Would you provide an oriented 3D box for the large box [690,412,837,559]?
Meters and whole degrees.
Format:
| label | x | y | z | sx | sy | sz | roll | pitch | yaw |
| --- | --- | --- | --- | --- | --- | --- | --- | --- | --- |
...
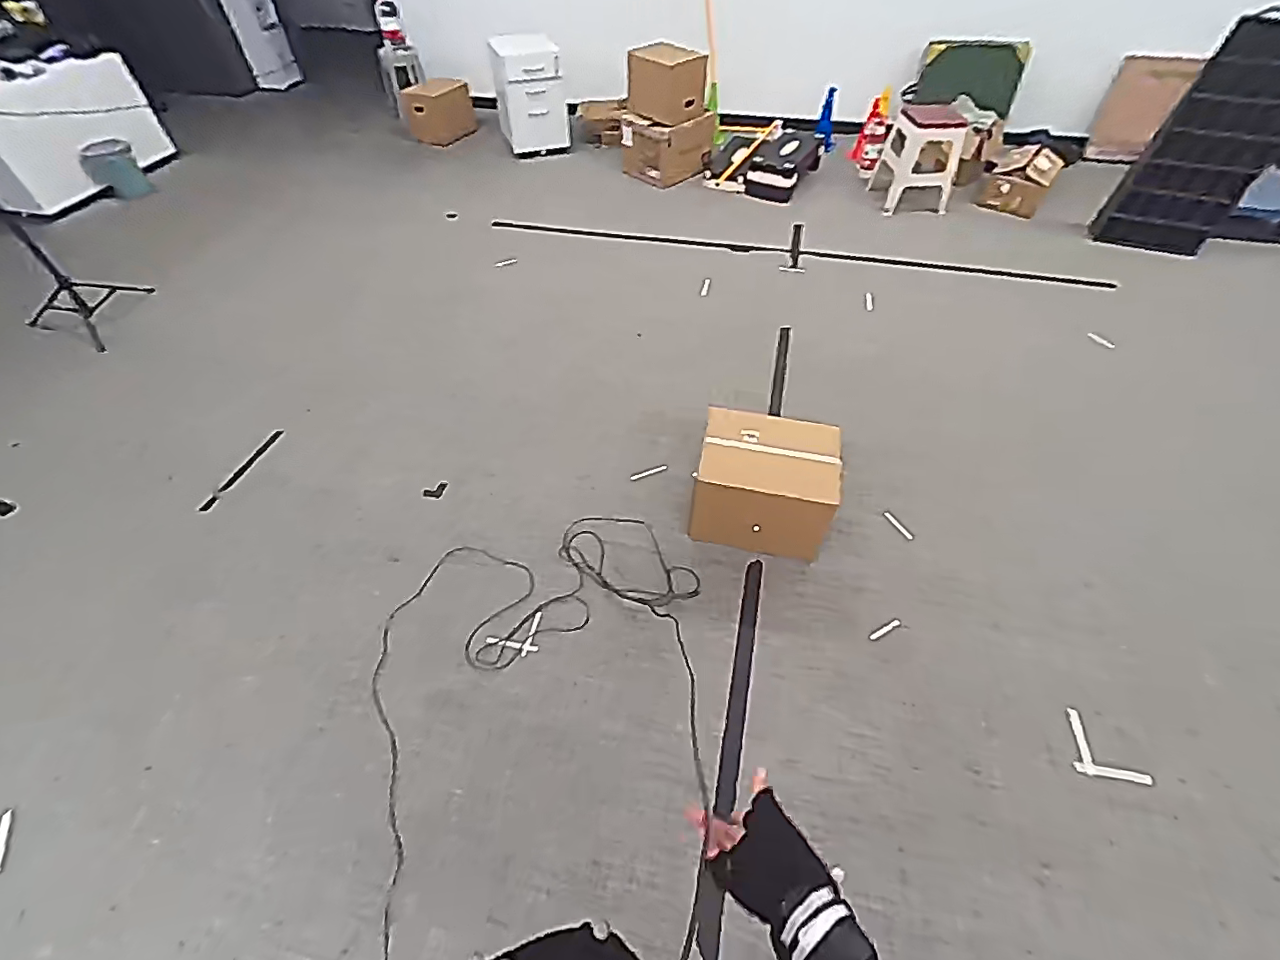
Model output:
| label | x | y | z | sx | sy | sz | roll | pitch | yaw |
| --- | --- | --- | --- | --- | --- | --- | --- | --- | --- |
| large box | 0.388 | 0.020 | 1.728 | 0.408 | 0.320 | 0.320 | 10 | 51 | 9 |
